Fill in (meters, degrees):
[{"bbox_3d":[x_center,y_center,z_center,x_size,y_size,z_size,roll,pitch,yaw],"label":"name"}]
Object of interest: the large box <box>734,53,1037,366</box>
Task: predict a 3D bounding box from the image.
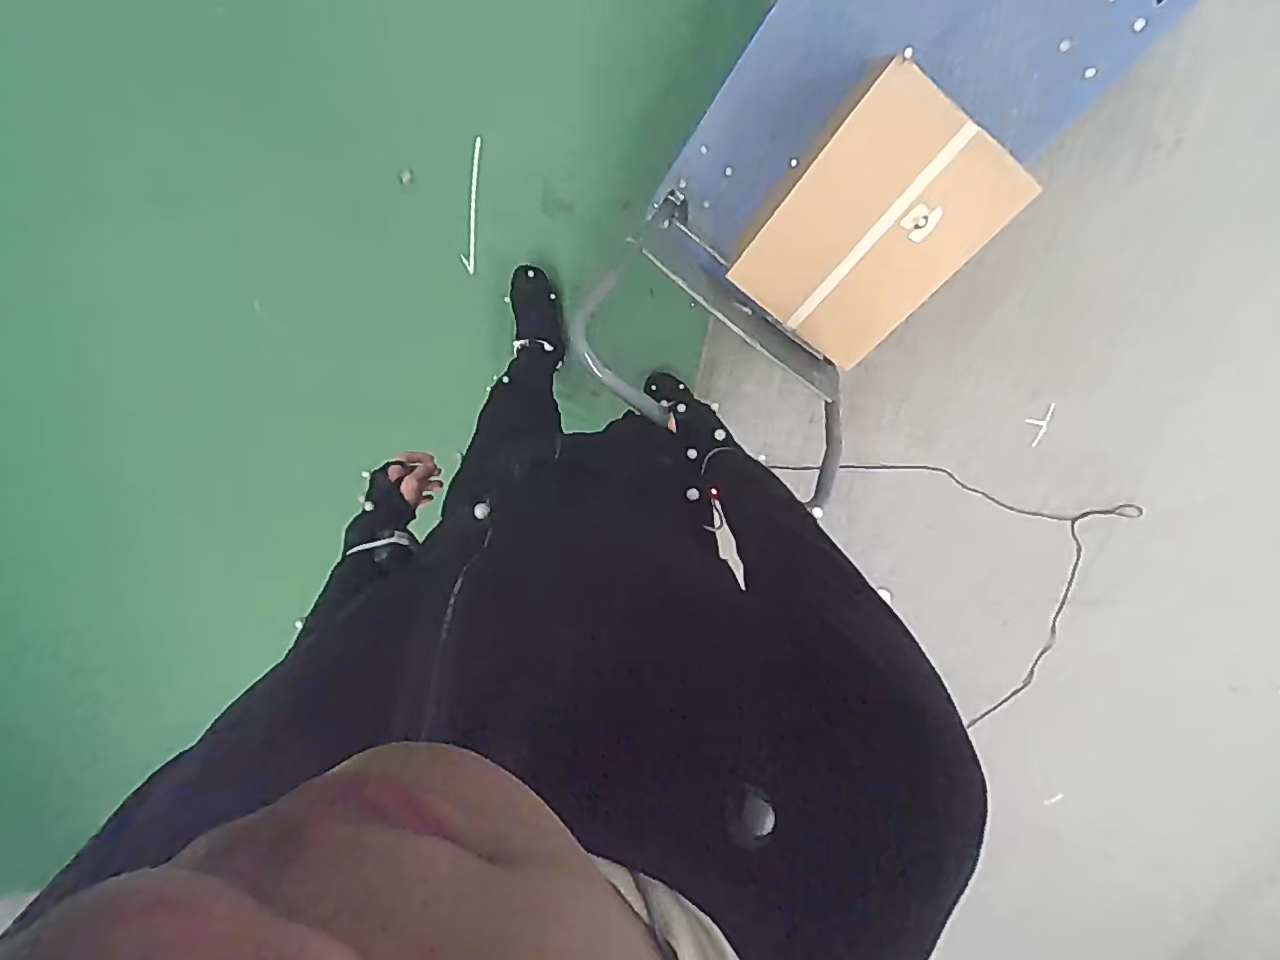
[{"bbox_3d":[0.434,-0.512,1.059,0.320,0.320,0.408,33,126,-11],"label":"large box"}]
